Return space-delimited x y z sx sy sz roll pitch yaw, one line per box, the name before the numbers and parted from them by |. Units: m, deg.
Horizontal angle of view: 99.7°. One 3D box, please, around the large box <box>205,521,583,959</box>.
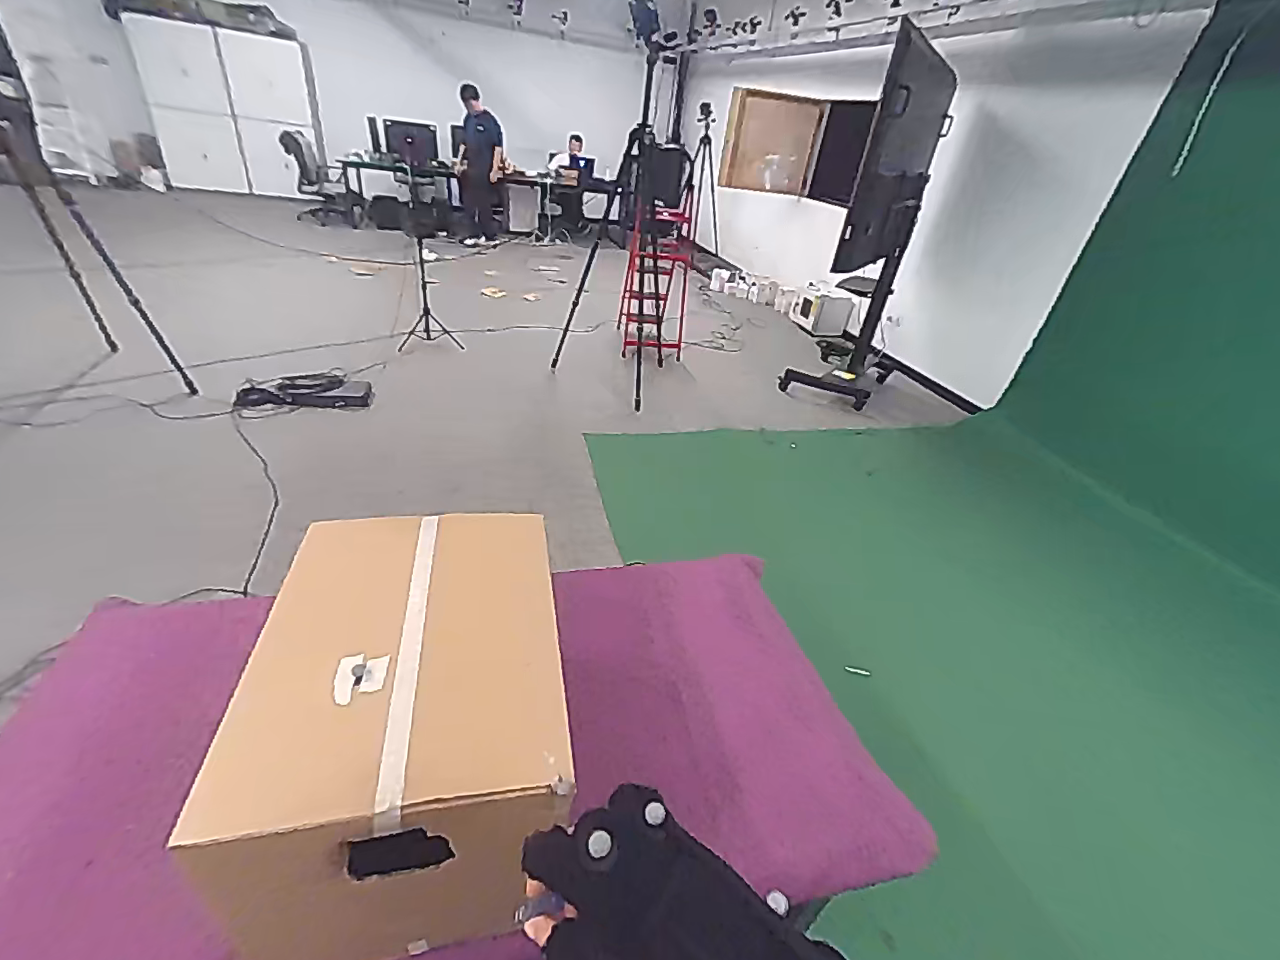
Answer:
large box | -0.267 0.296 0.703 0.320 0.320 0.408 -1 34 -14
